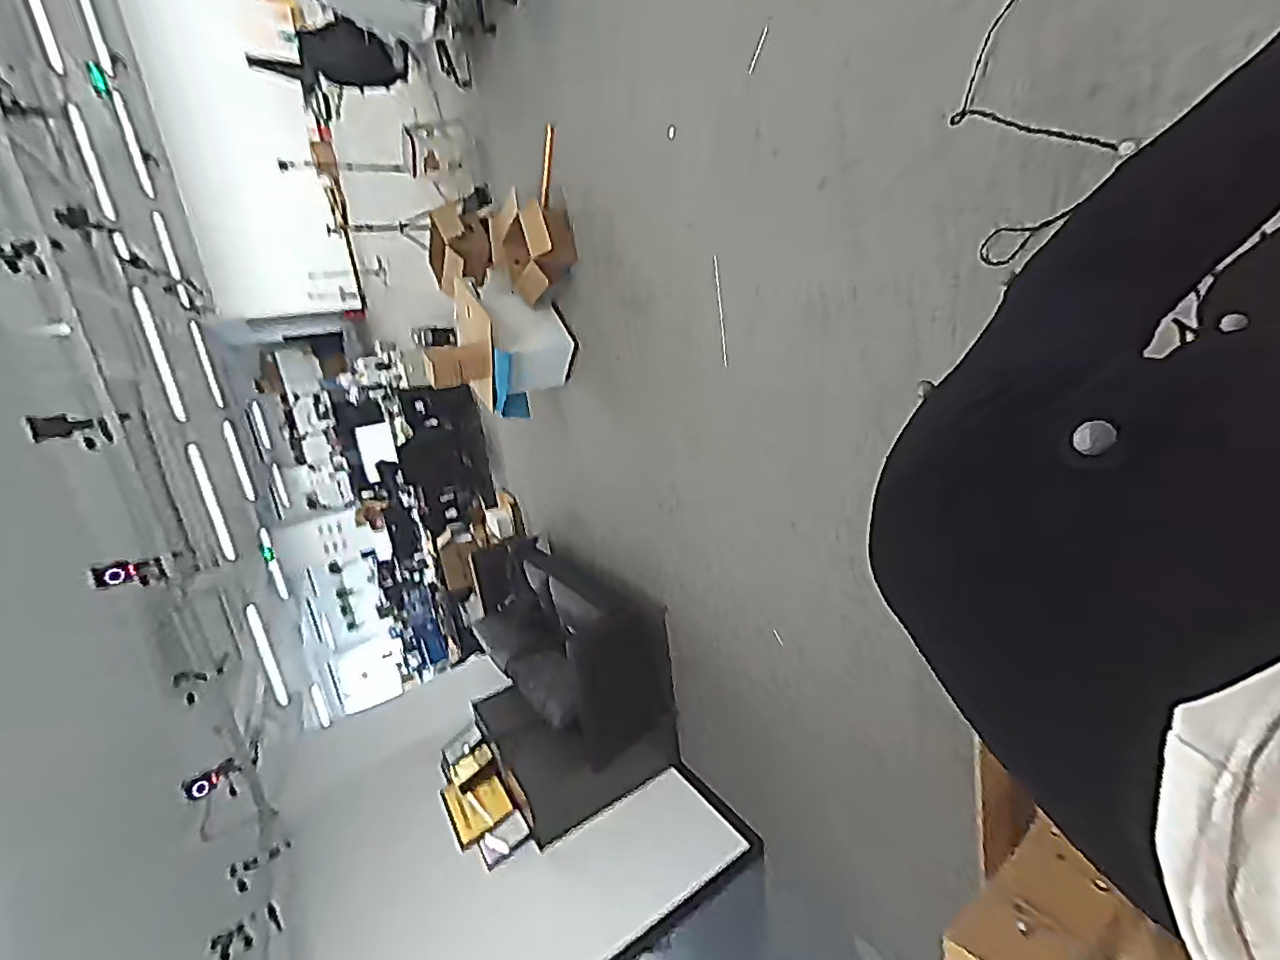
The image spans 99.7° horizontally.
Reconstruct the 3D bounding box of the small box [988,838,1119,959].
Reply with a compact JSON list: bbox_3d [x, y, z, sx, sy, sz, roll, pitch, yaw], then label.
[{"bbox_3d":[0.818,0.872,1.077,0.168,0.176,0.179,16,119,56],"label":"small box"}]

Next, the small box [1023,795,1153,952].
[{"bbox_3d":[0.955,0.824,1.155,0.179,0.176,0.168,12,116,57],"label":"small box"}]

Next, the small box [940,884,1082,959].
[{"bbox_3d":[0.682,0.913,0.994,0.168,0.176,0.179,12,115,56],"label":"small box"}]
